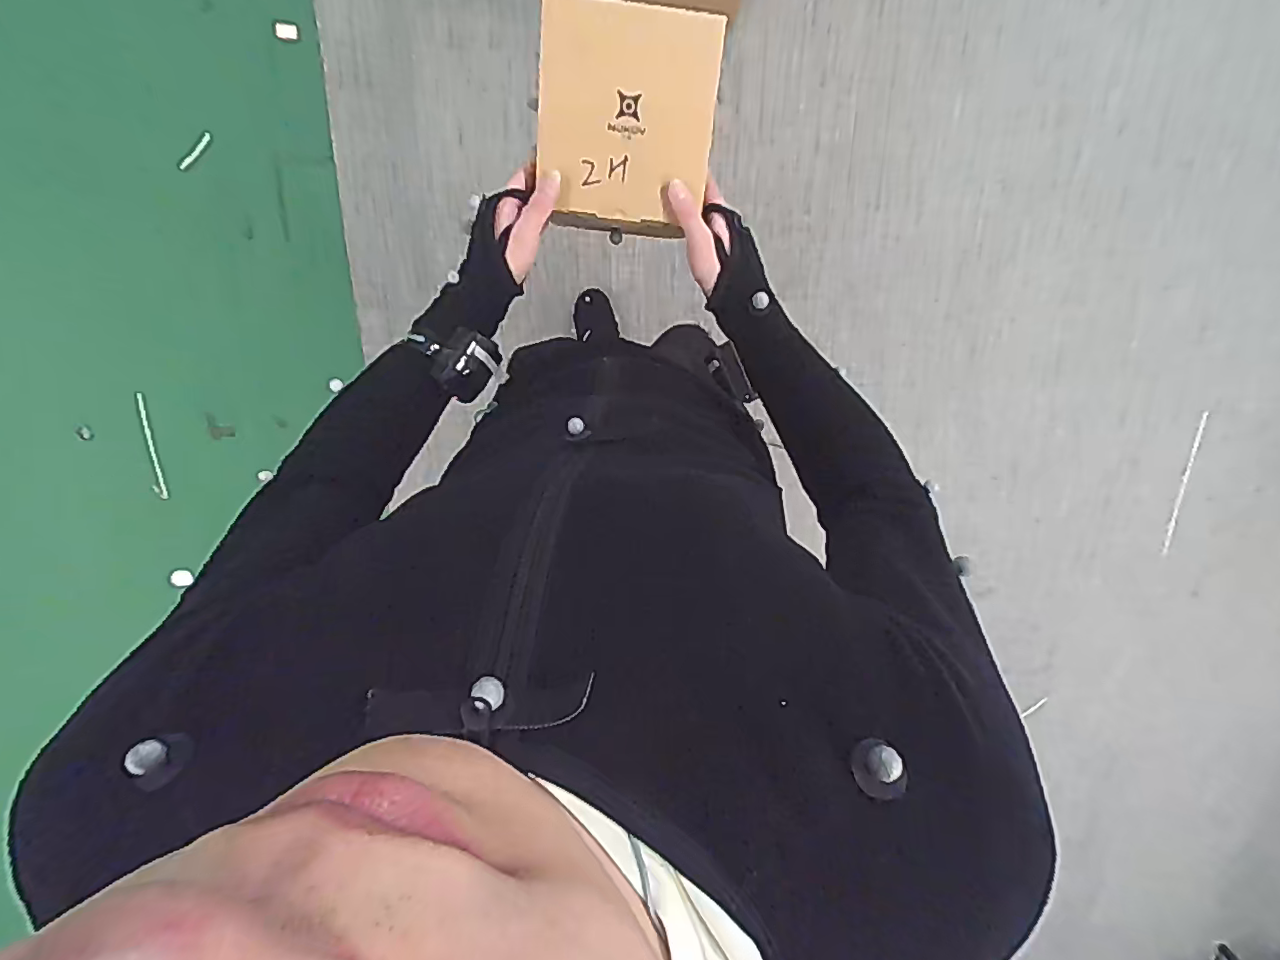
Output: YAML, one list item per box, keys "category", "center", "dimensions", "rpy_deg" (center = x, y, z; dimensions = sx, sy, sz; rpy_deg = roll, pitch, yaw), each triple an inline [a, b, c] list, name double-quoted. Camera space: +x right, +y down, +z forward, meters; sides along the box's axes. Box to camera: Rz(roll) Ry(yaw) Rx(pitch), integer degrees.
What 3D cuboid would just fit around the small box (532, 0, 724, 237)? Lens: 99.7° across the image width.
- category: "small box"
  center: [-0.019, -0.370, 0.577]
  dimensions: [0.168, 0.176, 0.179]
  rpy_deg: [5, 110, -4]
